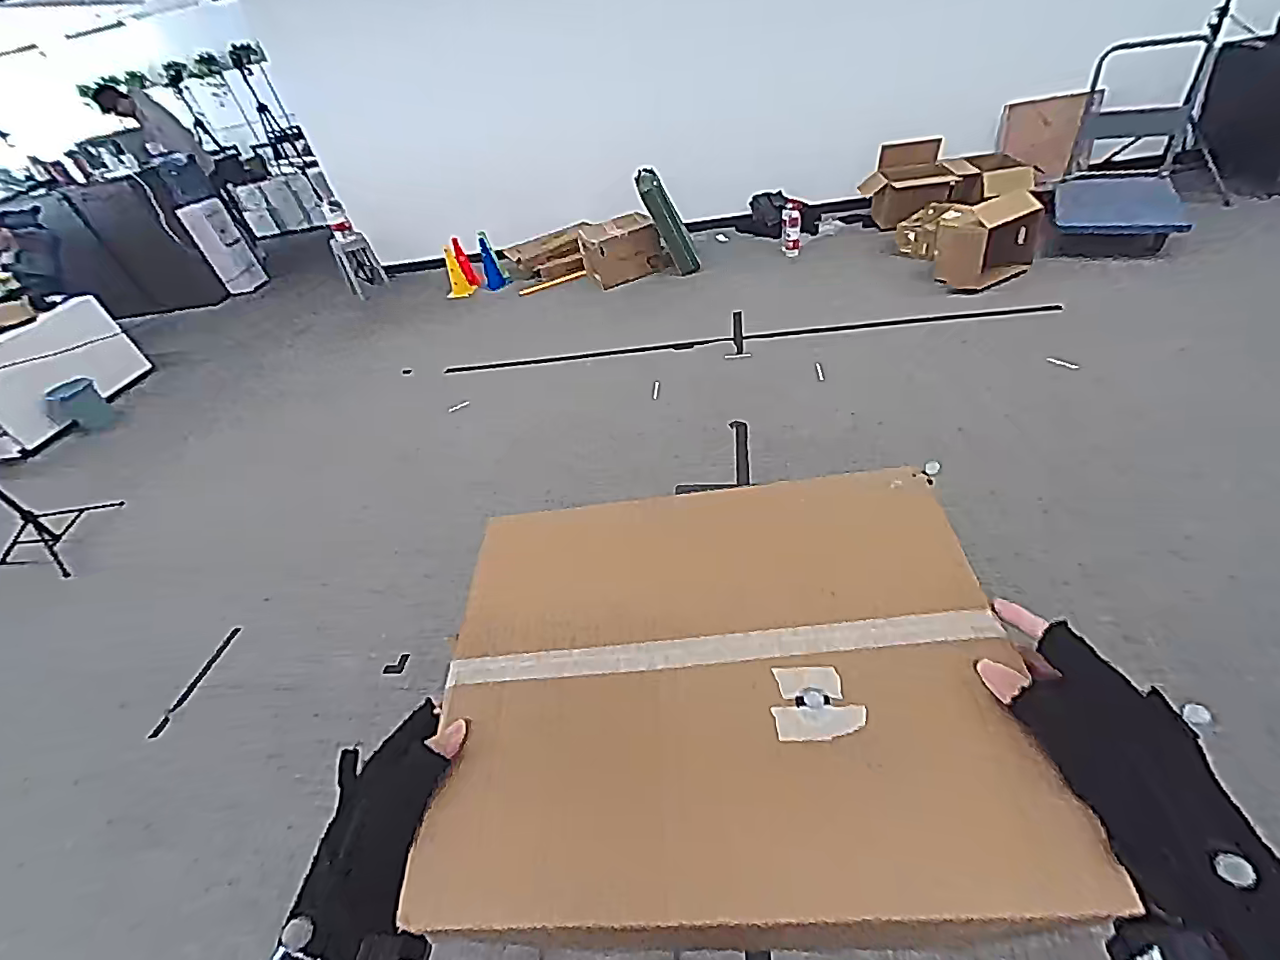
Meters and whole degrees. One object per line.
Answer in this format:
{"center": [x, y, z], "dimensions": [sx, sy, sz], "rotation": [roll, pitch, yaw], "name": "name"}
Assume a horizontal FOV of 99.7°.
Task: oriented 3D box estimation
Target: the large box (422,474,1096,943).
{"center": [0.078, 0.231, 0.524], "dimensions": [0.408, 0.320, 0.320], "rotation": [-7, 47, 7], "name": "large box"}
